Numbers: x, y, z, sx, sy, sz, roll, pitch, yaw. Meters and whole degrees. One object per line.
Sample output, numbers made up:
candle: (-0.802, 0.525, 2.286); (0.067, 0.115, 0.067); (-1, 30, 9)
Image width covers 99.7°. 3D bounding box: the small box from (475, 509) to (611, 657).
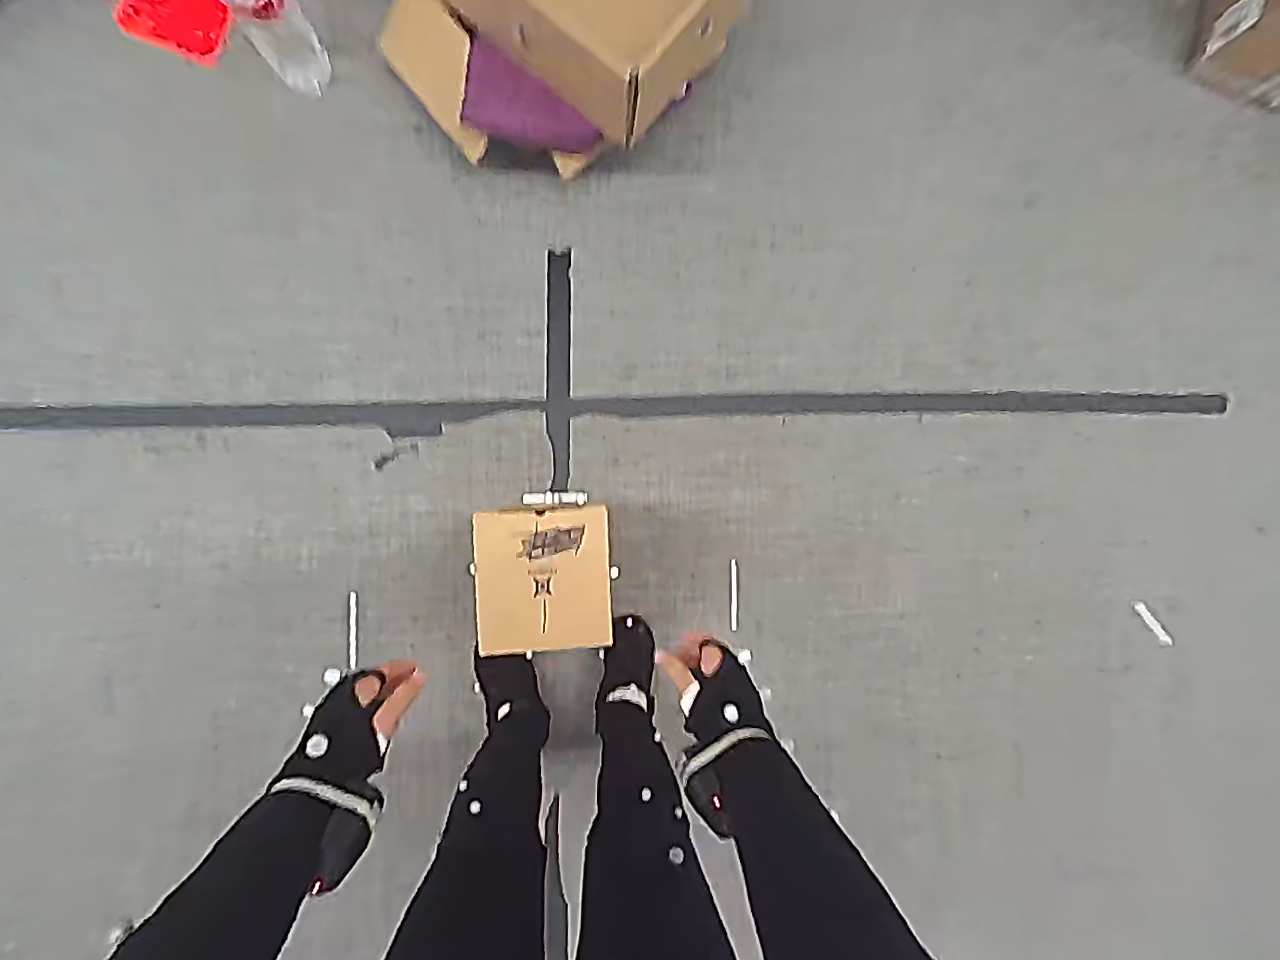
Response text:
small box: (-0.129, 0.131, 0.752); (0.168, 0.176, 0.179); (-3, 89, -6)
